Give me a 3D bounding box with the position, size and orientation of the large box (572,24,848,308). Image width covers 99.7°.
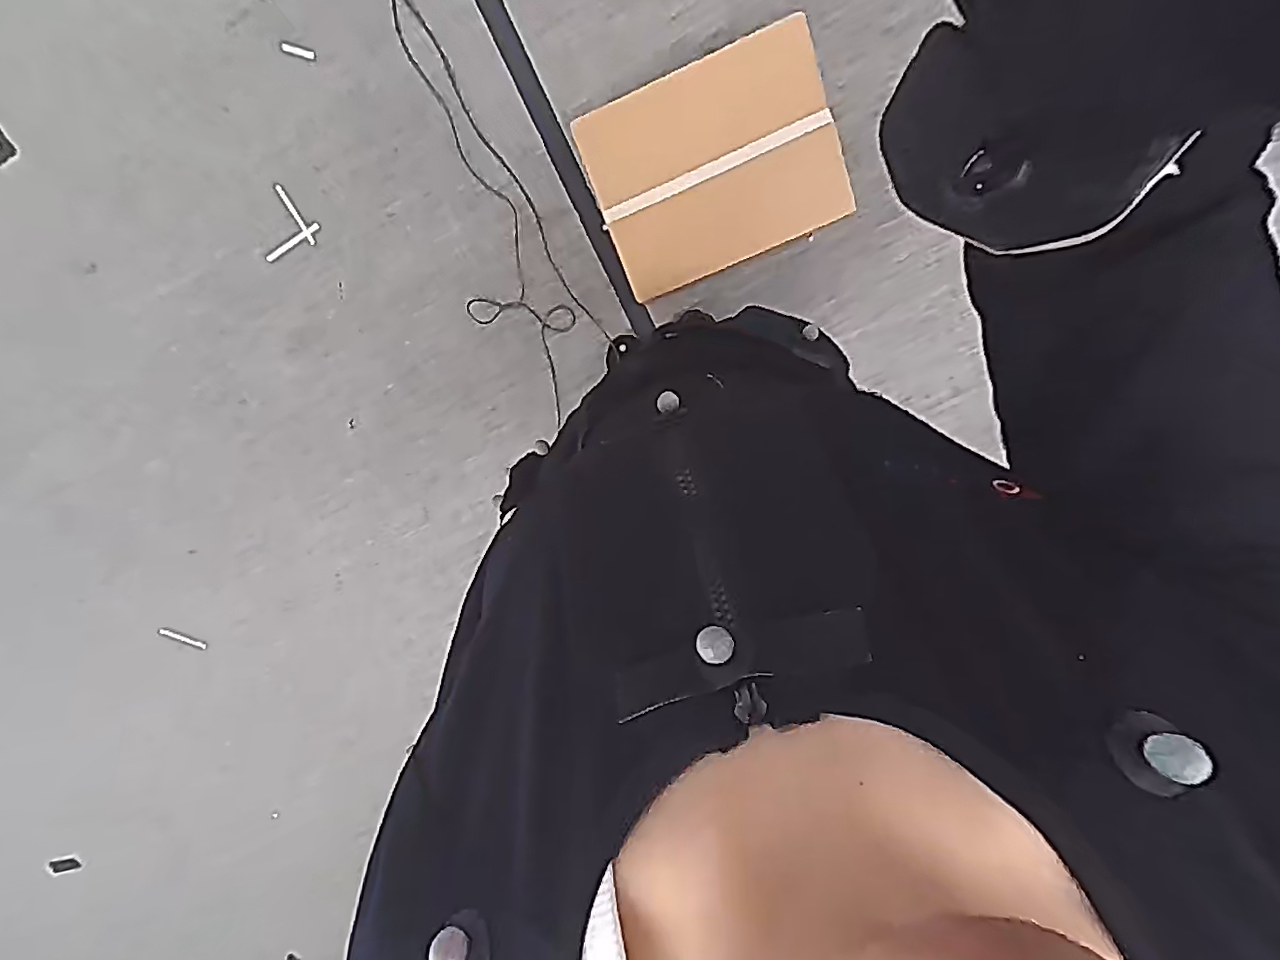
[{"bbox_3d":[0.128,-0.564,1.063,0.408,0.320,0.320,-21,105,8],"label":"large box"}]
